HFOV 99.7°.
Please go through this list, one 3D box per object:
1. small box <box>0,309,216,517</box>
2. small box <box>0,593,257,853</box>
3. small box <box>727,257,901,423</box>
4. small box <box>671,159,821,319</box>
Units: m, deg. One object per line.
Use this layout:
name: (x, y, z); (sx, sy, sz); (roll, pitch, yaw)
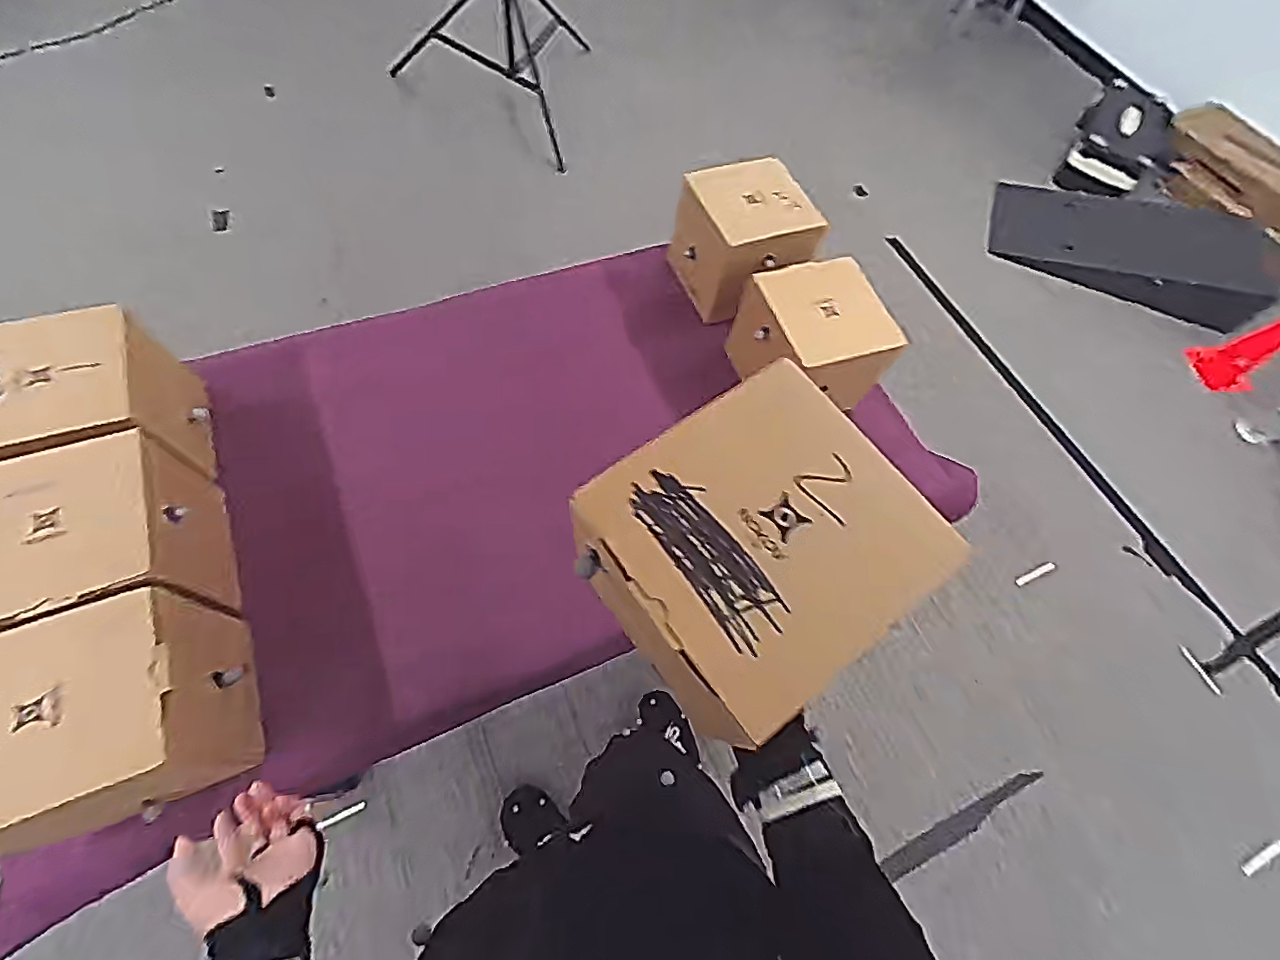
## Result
small box: (-0.665, -0.074, 0.655); (0.179, 0.176, 0.168); (-18, 70, -16)
small box: (-0.508, 0.233, 0.529); (0.179, 0.176, 0.168); (-19, 67, -16)
small box: (0.253, -0.205, 0.833); (0.168, 0.176, 0.179); (-16, 66, -13)
small box: (0.162, -0.396, 0.906); (0.179, 0.176, 0.168); (-19, 69, -16)
